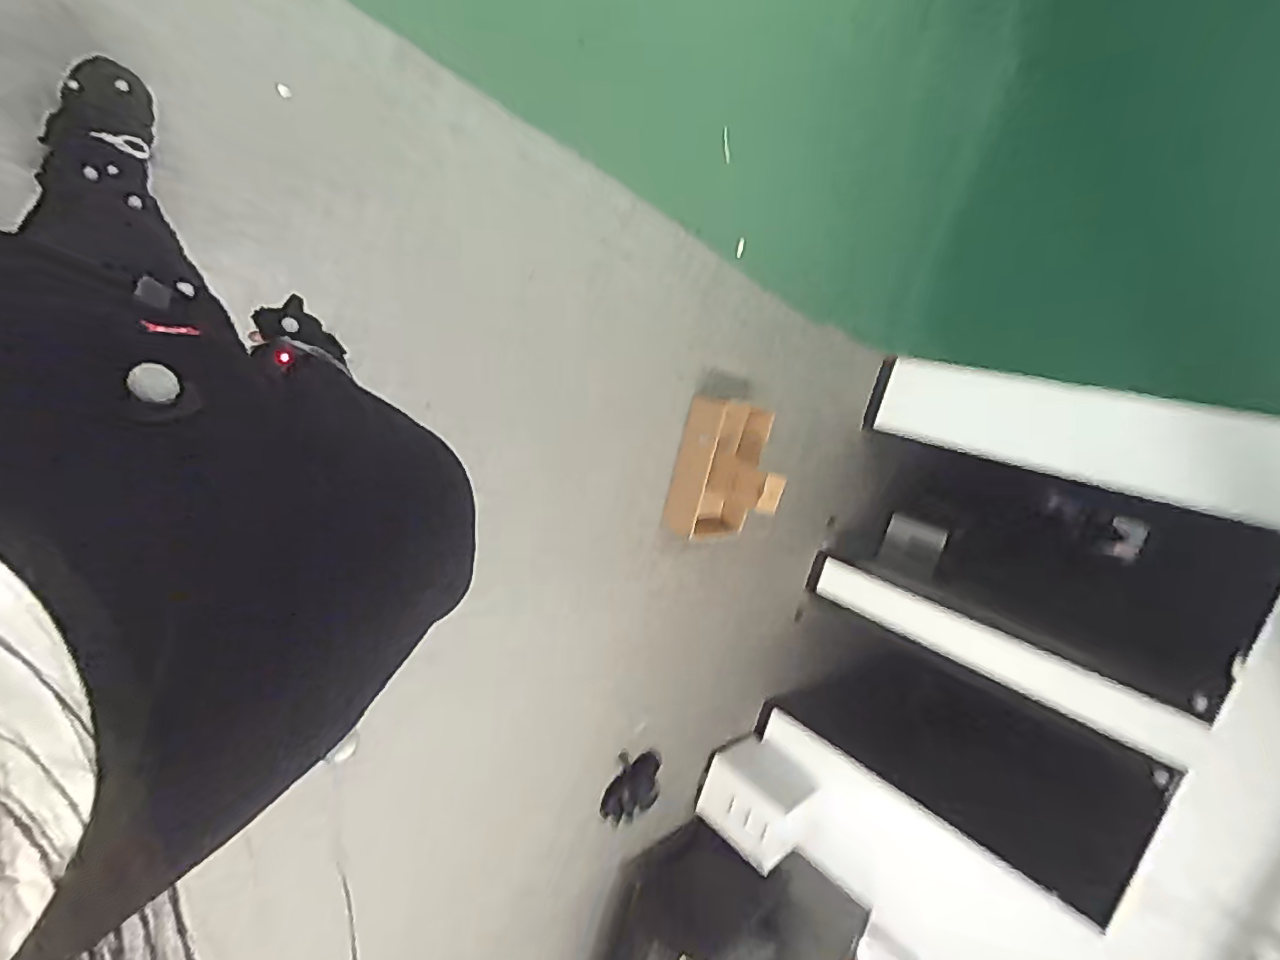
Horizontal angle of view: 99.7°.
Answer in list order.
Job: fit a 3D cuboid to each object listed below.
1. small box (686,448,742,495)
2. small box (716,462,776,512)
[{"bbox_3d":[0.331,-0.035,2.460,0.168,0.176,0.179,10,98,-50],"label":"small box"},{"bbox_3d":[0.458,0.027,2.351,0.179,0.176,0.168,12,100,-51],"label":"small box"}]
